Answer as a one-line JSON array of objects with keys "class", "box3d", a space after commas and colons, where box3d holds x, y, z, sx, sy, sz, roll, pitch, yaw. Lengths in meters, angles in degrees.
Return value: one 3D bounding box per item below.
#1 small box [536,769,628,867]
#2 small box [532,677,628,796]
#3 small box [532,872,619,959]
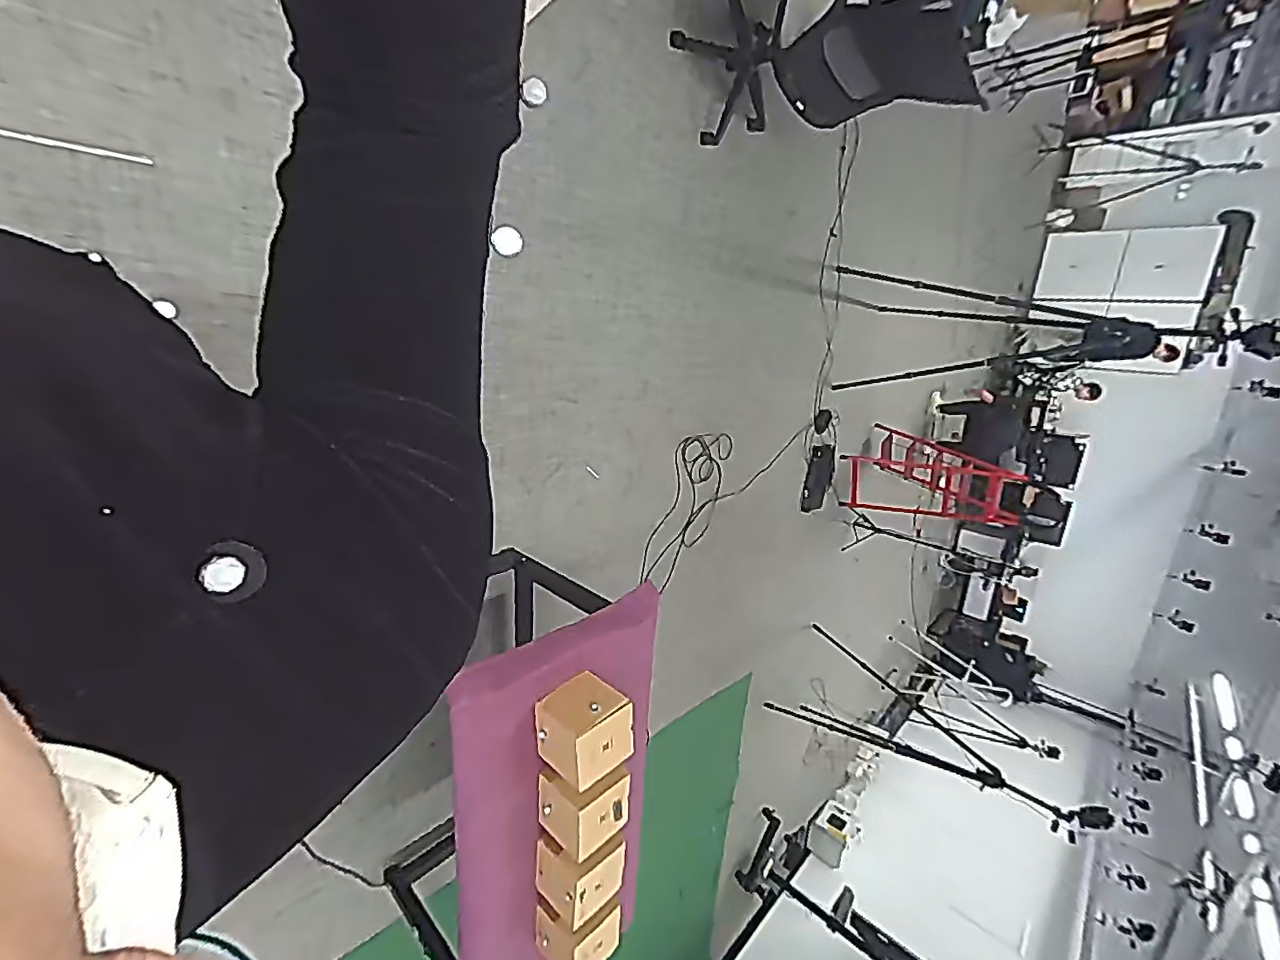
[{"class": "small box", "box3d": [-0.153, 0.844, 1.418, 0.179, 0.176, 0.168, -13, 112, -44]}, {"class": "small box", "box3d": [-0.147, 0.628, 1.350, 0.179, 0.176, 0.168, -19, 116, -42]}, {"class": "small box", "box3d": [-0.183, 1.276, 1.534, 0.179, 0.176, 0.168, -11, 110, -45]}]
